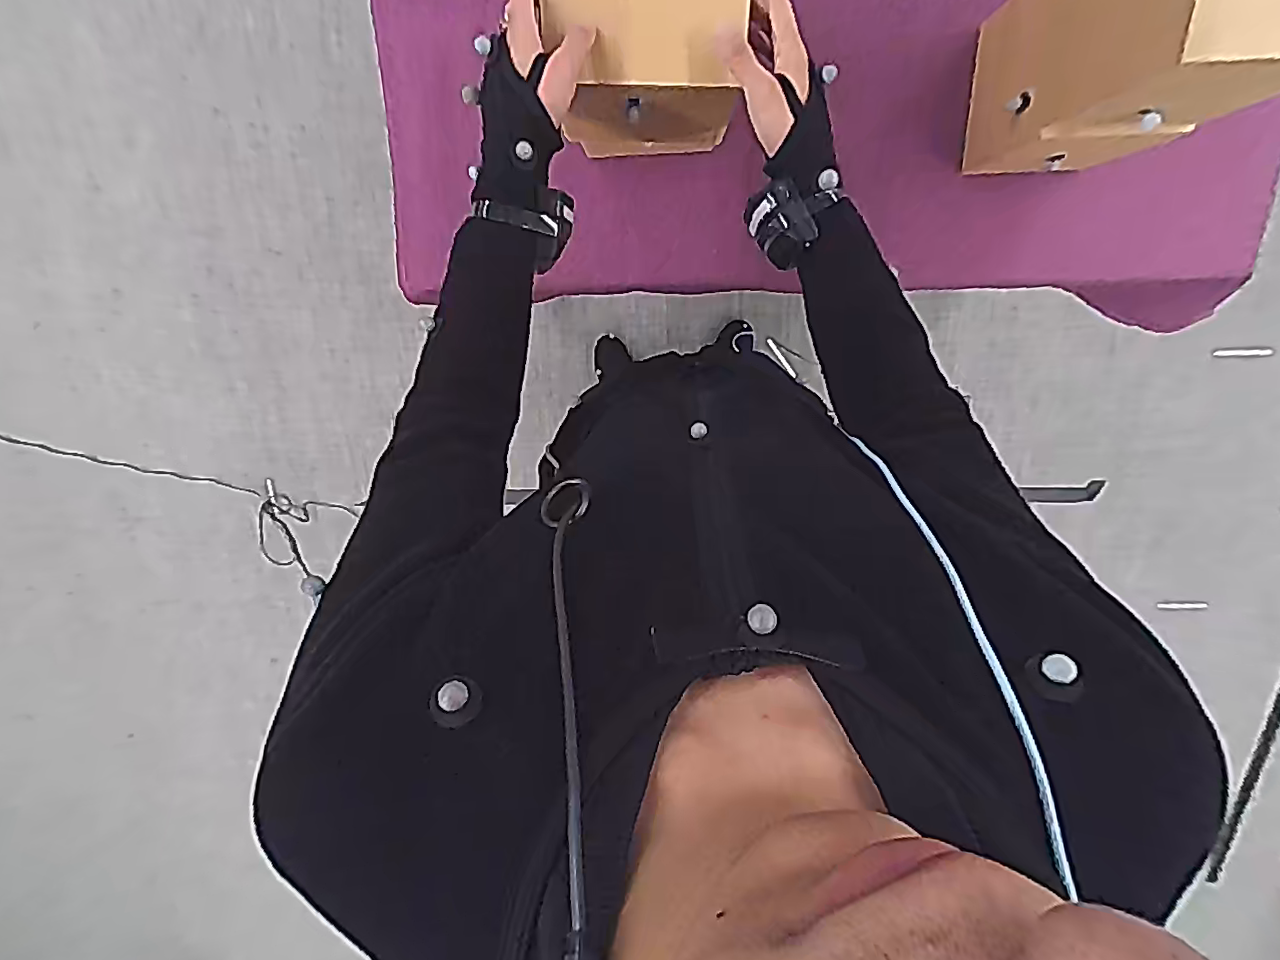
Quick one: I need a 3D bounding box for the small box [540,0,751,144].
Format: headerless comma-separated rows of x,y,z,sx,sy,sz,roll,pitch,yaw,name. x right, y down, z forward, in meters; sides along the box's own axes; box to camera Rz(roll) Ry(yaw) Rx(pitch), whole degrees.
0.007,-0.435,0.512,0.179,0.176,0.168,2,108,2,small box

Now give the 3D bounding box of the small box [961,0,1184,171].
0.521,-0.485,0.653,0.168,0.176,0.179,-1,107,1,small box

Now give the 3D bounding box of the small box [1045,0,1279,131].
0.517,-0.445,0.493,0.168,0.176,0.179,0,108,2,small box
